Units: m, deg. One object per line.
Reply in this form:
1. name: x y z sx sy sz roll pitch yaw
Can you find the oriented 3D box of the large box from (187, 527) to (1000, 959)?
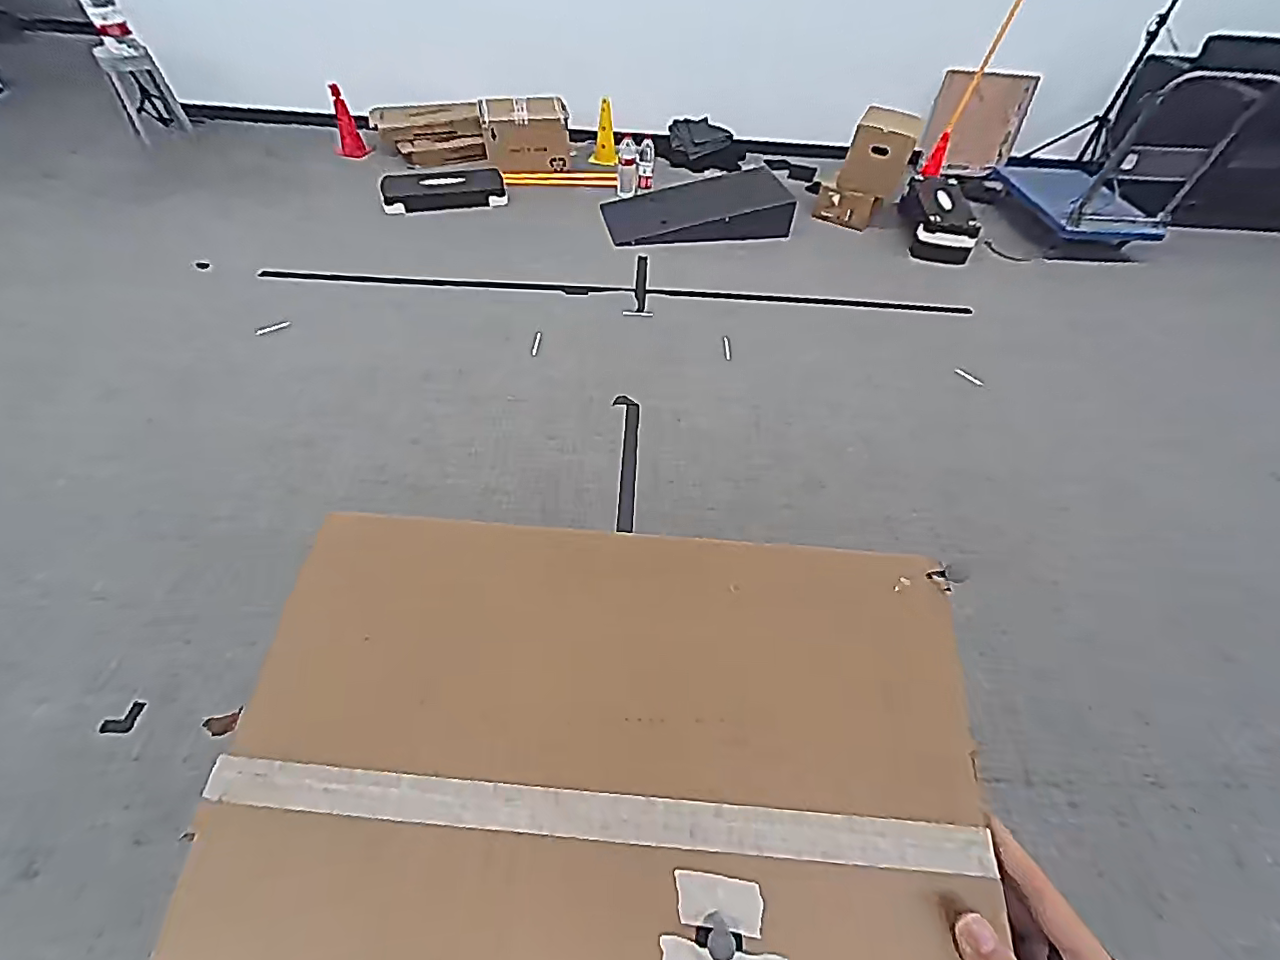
1. large box: -0.019 0.248 0.425 0.408 0.320 0.320 4 63 2
